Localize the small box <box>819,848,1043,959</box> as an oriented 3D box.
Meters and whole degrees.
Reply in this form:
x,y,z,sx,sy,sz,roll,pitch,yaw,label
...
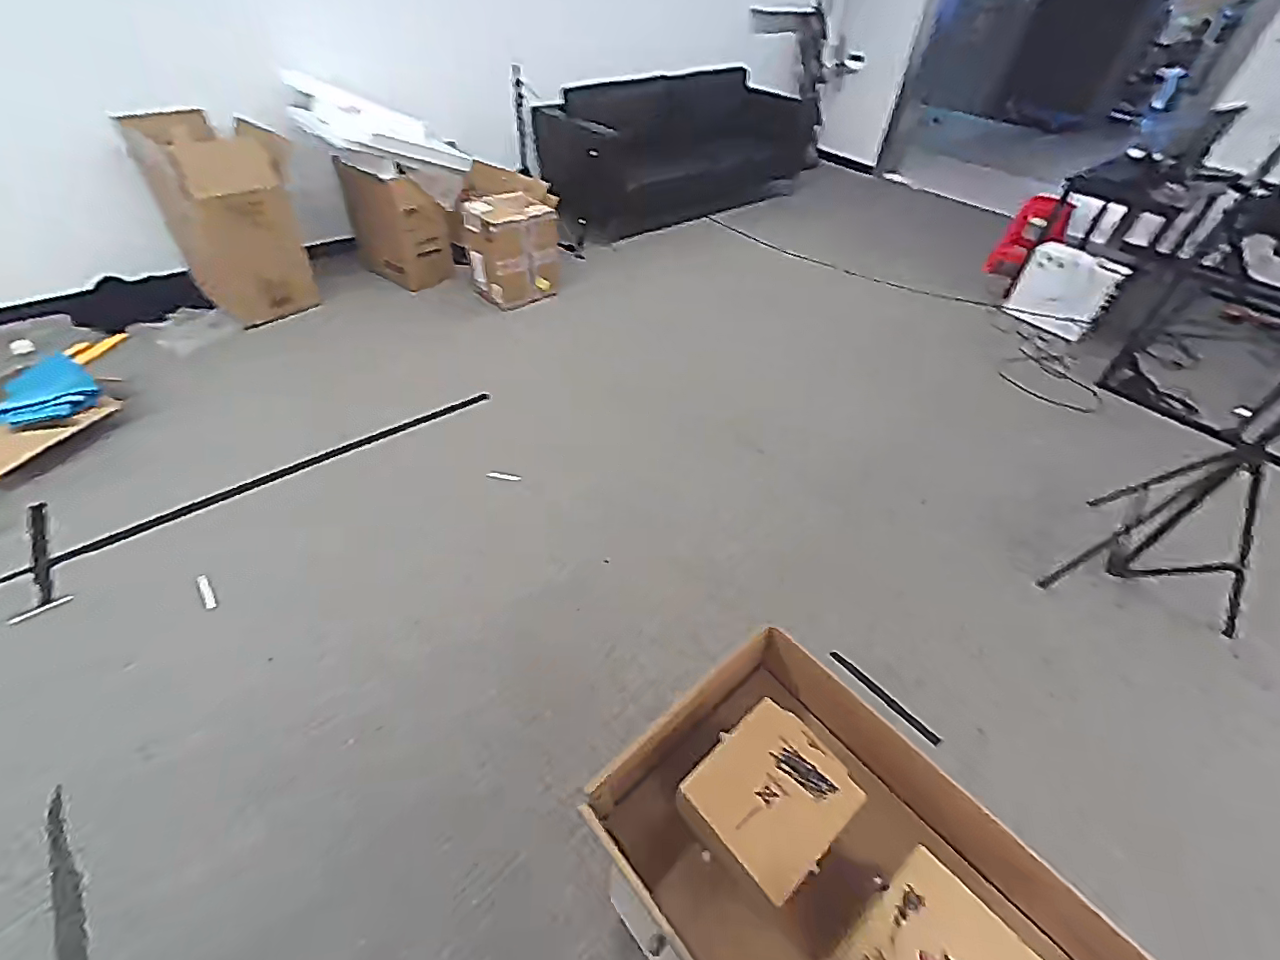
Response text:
x,y,z,sx,sy,sz,roll,pitch,yaw,label
0.339,0.578,0.626,0.168,0.176,0.179,-32,53,-26,small box

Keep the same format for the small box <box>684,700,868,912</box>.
x,y,z,sx,sy,sz,roll,pitch,yaw,label
0.173,0.448,0.747,0.179,0.176,0.168,-34,56,-25,small box
